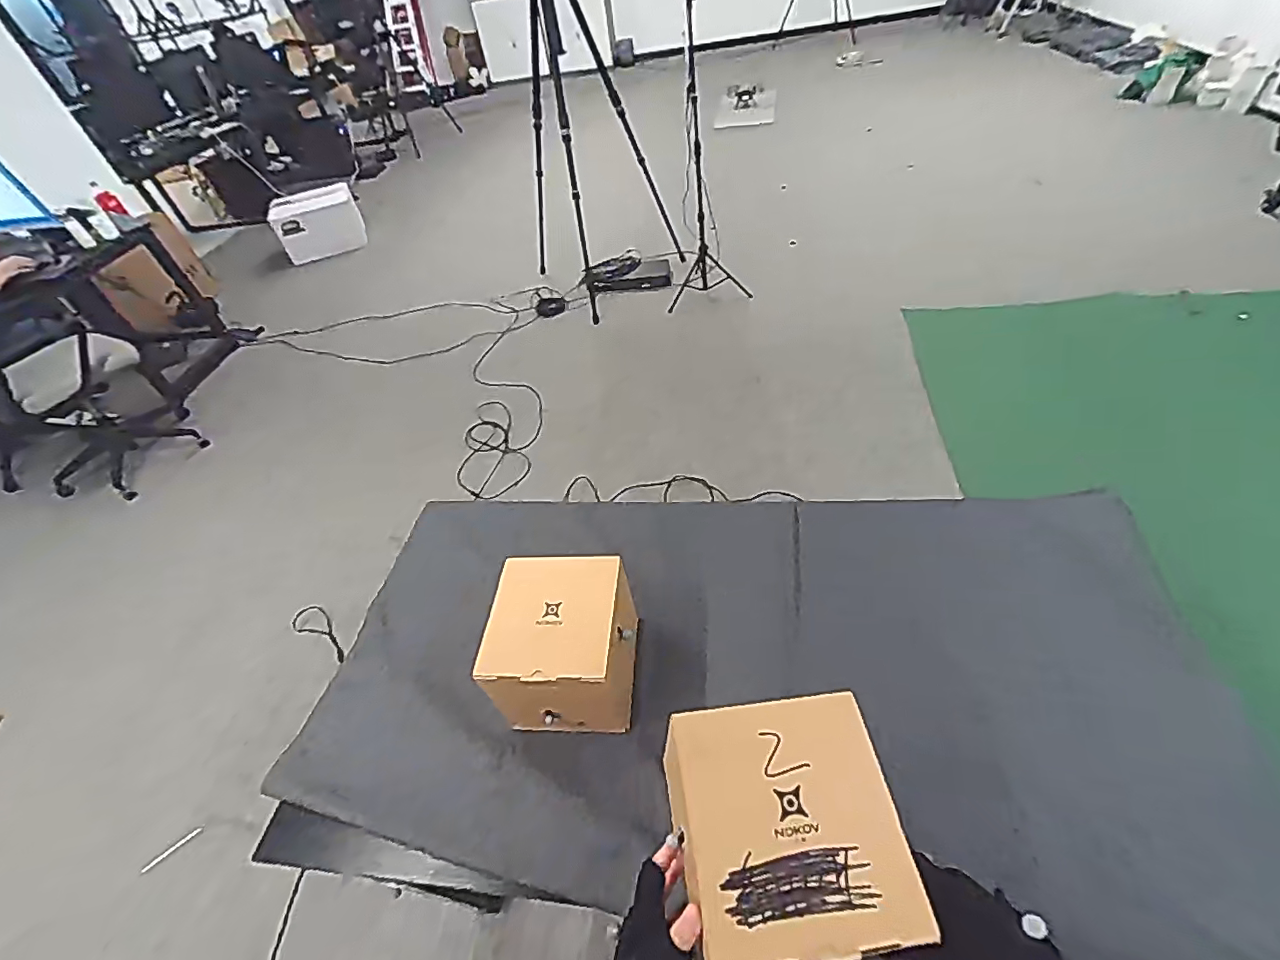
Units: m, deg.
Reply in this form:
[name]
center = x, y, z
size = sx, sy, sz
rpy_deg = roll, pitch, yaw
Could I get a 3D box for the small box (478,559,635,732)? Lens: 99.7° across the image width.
[small box]
center = -0.101, 0.230, 0.758
size = 0.168, 0.176, 0.179
rpy_deg = -2, 47, 8
